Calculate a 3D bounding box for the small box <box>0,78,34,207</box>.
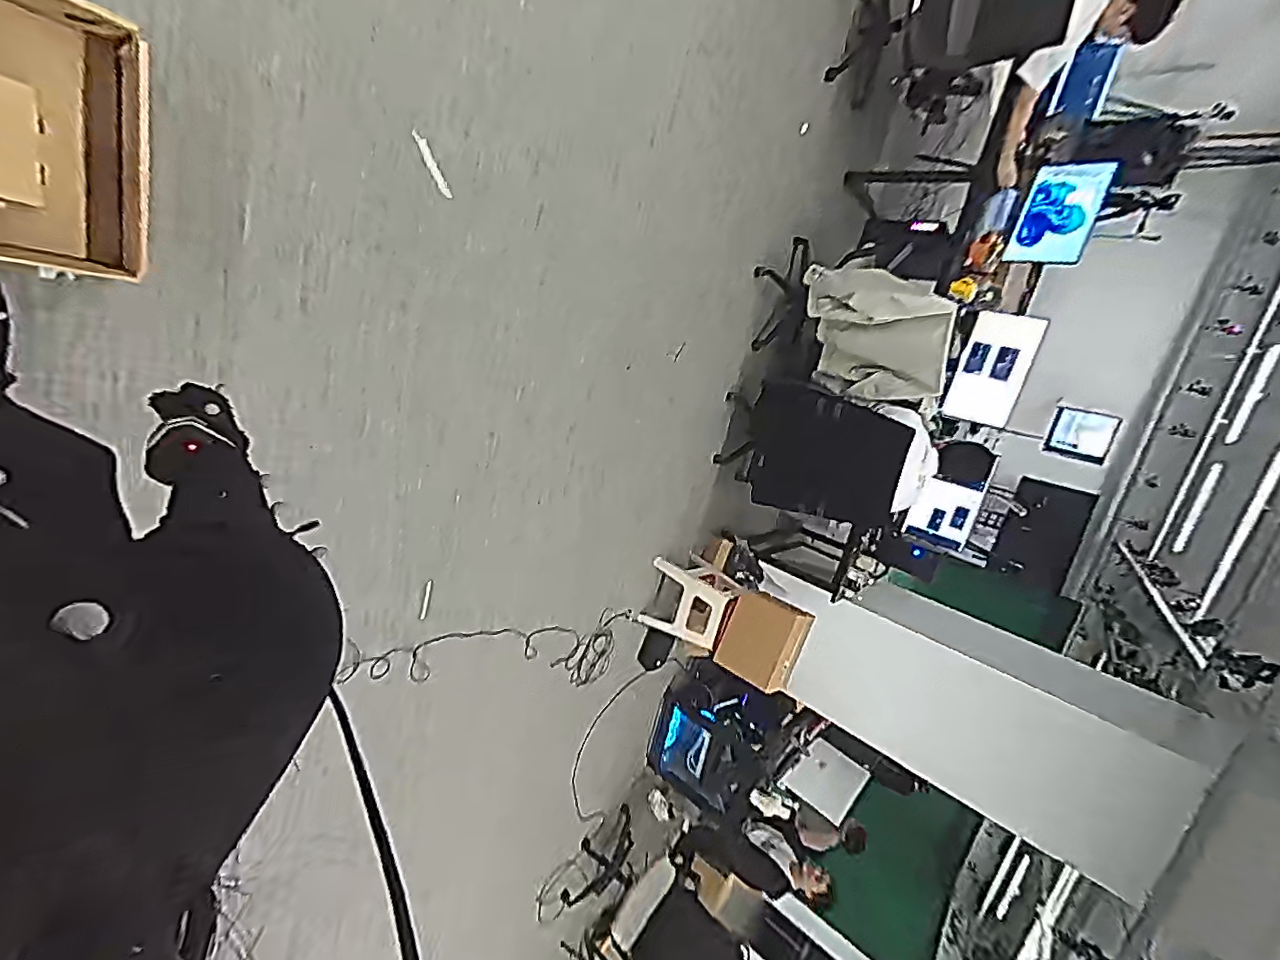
[{"bbox_3d":[-1.014,-0.512,0.780,0.179,0.176,0.168,-3,110,-50],"label":"small box"}]
